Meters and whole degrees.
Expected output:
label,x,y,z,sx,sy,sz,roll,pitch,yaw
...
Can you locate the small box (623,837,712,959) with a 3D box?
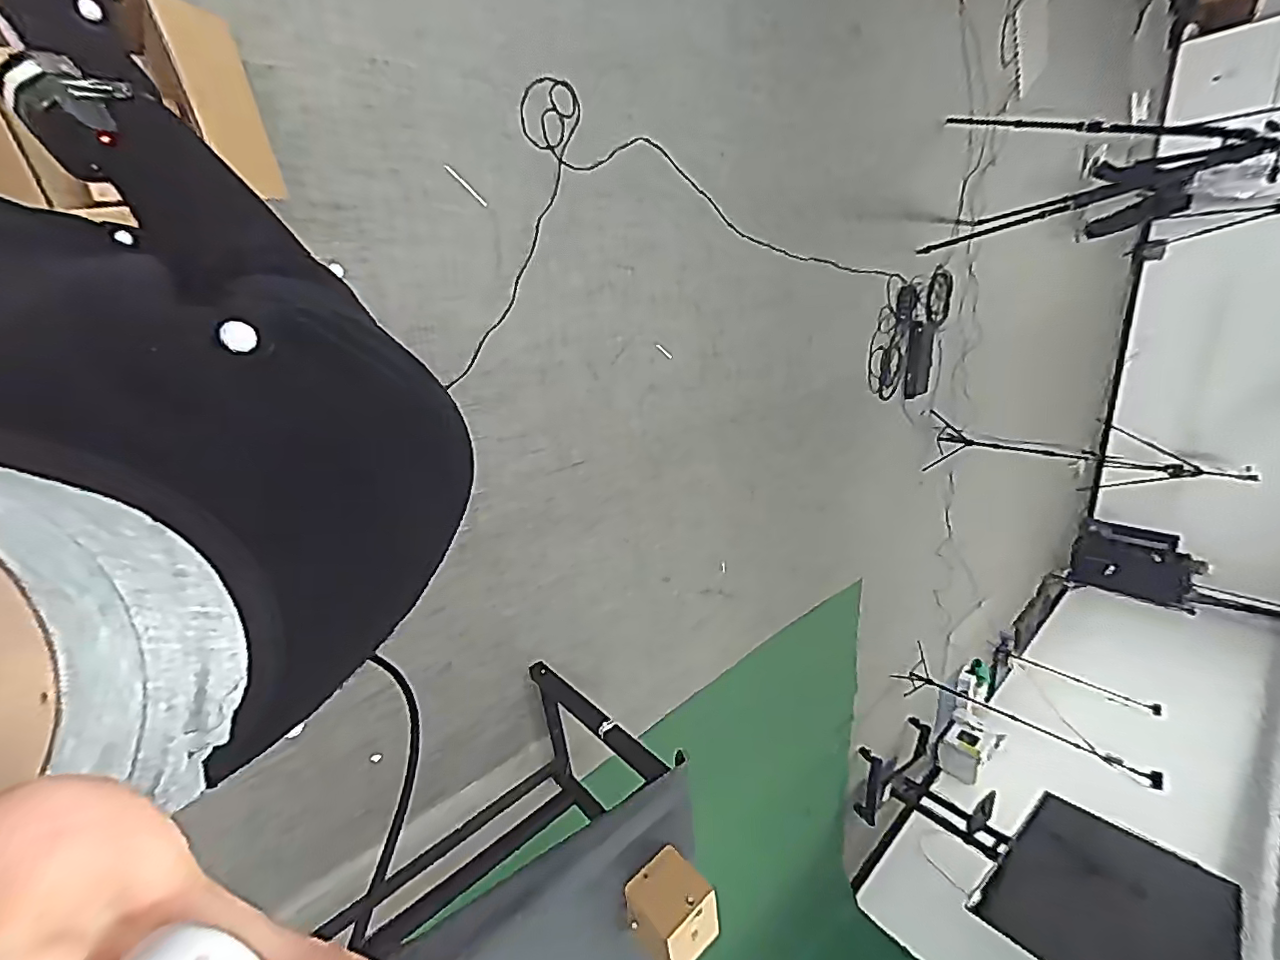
label,x,y,z,sx,sy,sz,roll,pitch,yaw
small box,0.072,1.099,1.423,0.168,0.176,0.179,-23,118,-36
